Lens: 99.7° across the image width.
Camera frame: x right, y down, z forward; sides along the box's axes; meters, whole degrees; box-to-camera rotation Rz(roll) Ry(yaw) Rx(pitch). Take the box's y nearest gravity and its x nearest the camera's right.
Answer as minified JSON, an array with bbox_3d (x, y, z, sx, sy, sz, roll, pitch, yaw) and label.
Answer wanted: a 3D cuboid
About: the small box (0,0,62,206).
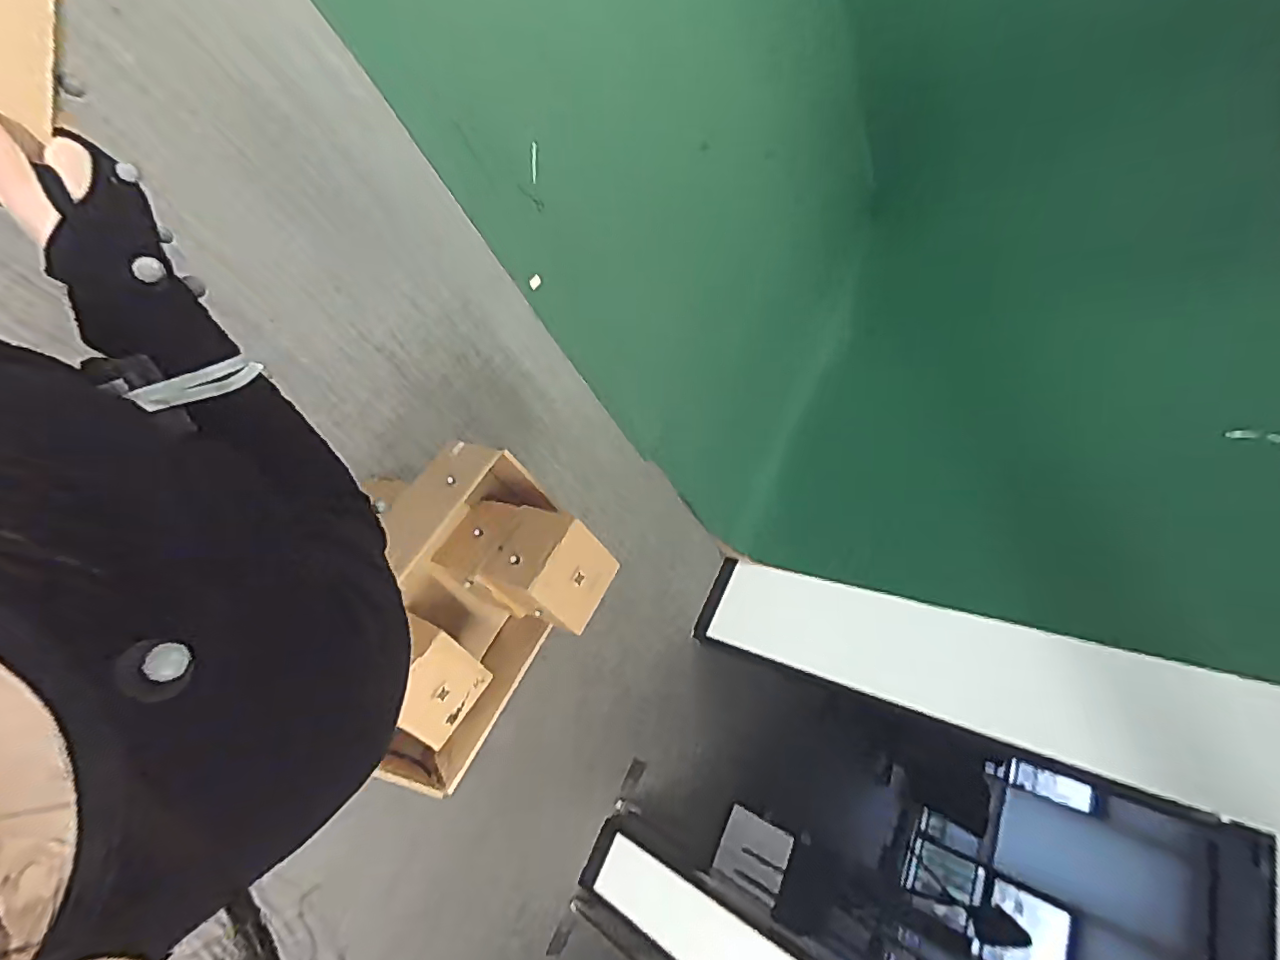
[{"bbox_3d":[-0.474,-0.290,0.325,0.168,0.176,0.179,1,100,-45],"label":"small box"}]

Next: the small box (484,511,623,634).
[{"bbox_3d":[-0.173,0.176,1.076,0.168,0.176,0.179,-57,135,-24],"label":"small box"}]
